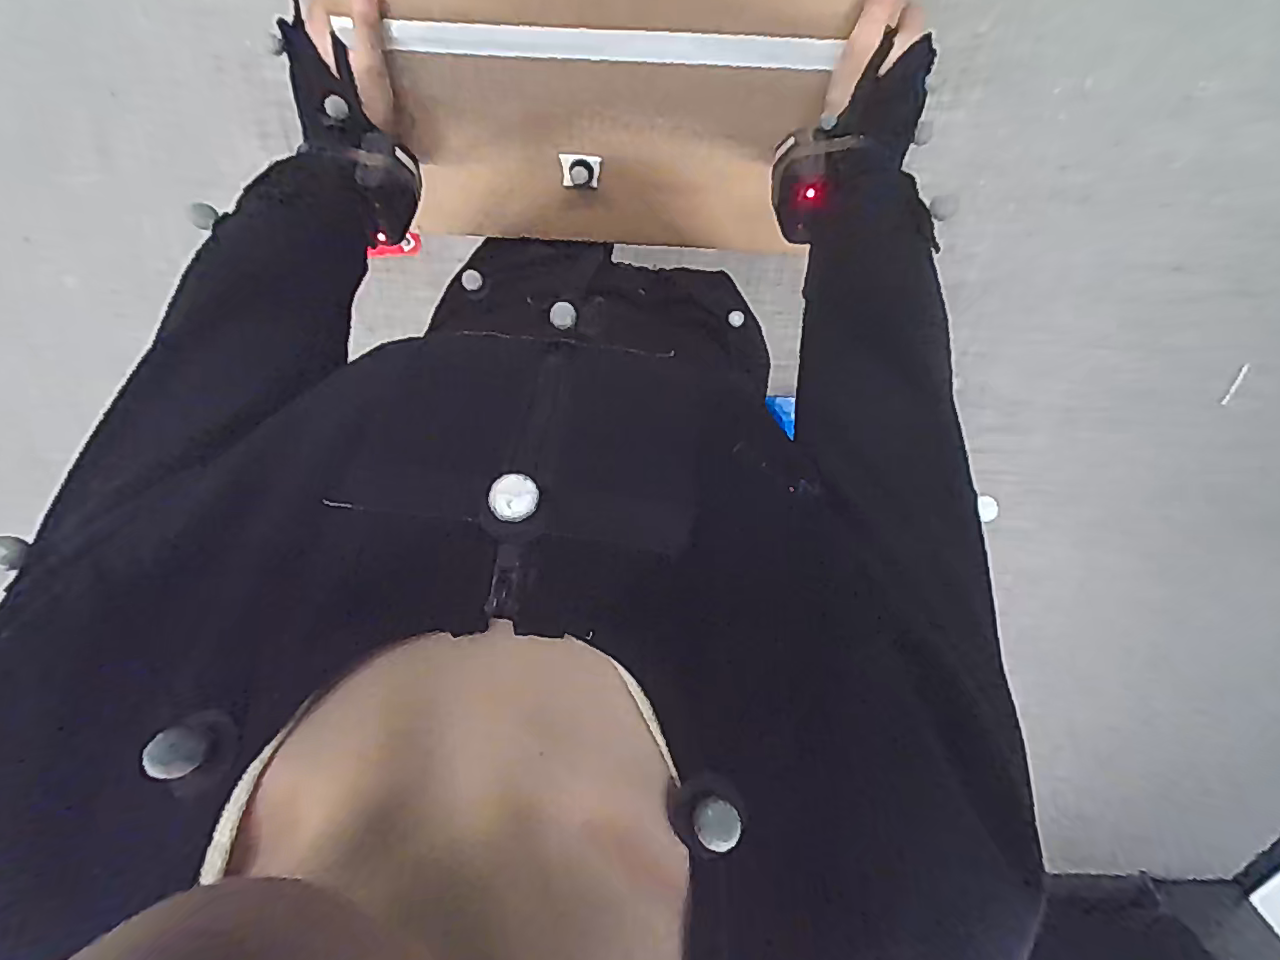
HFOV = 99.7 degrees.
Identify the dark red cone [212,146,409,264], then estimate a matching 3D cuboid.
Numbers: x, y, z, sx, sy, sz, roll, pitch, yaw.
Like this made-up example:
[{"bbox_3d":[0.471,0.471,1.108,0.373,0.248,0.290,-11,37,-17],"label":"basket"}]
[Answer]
[{"bbox_3d":[-0.585,-0.476,0.946,0.202,0.394,0.201,-5,117,3],"label":"dark red cone"}]
